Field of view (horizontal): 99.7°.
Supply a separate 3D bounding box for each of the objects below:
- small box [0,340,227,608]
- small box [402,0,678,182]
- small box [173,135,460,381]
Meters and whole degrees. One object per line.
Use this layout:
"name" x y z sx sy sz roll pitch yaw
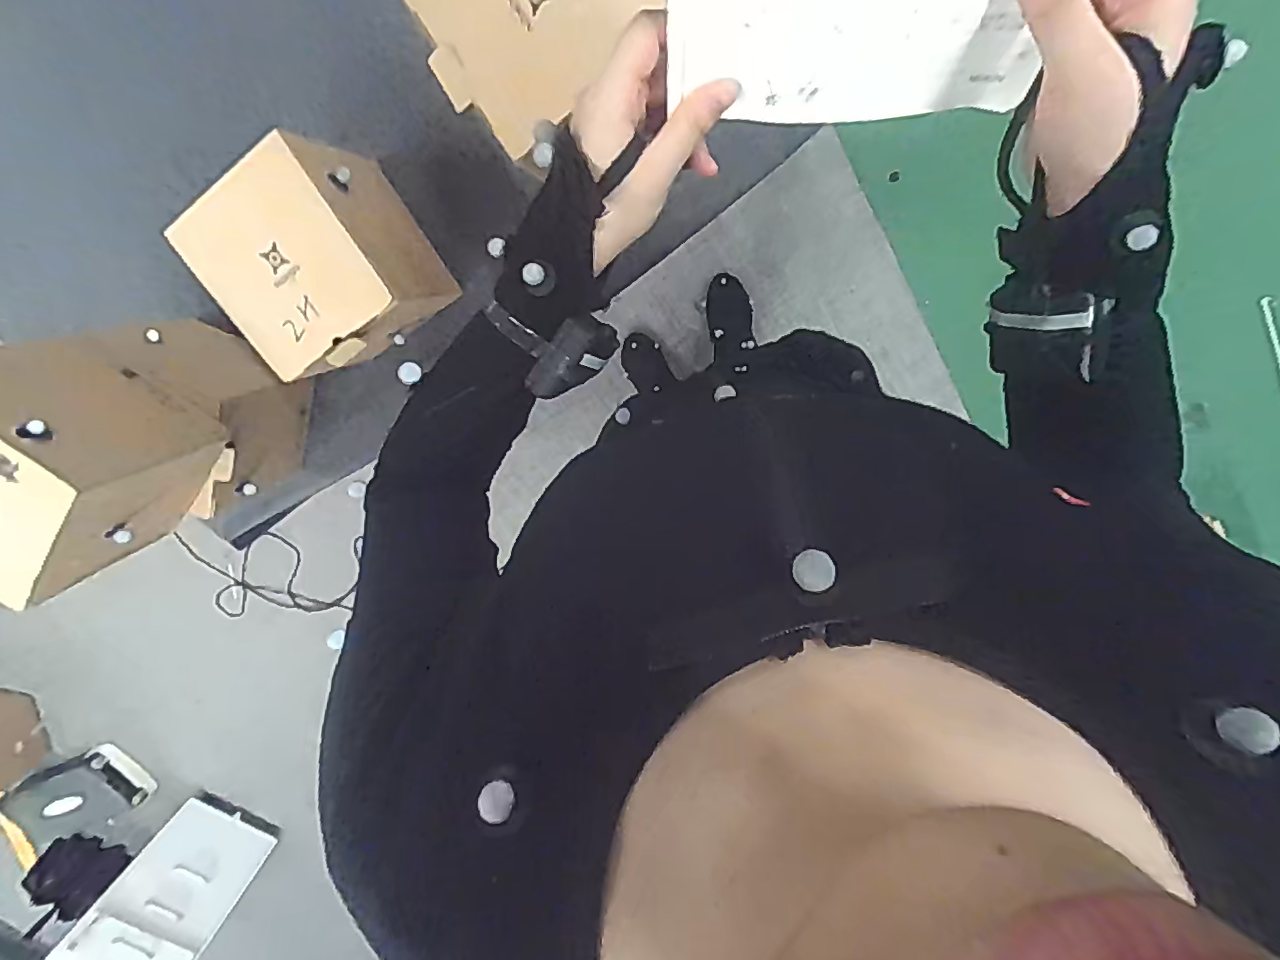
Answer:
"small box" -0.573 -0.015 0.545 0.168 0.176 0.179 40 111 -11
"small box" -0.078 -0.415 0.508 0.179 0.176 0.168 -32 105 18
"small box" -0.341 -0.238 0.607 0.168 0.176 0.179 -28 107 17
